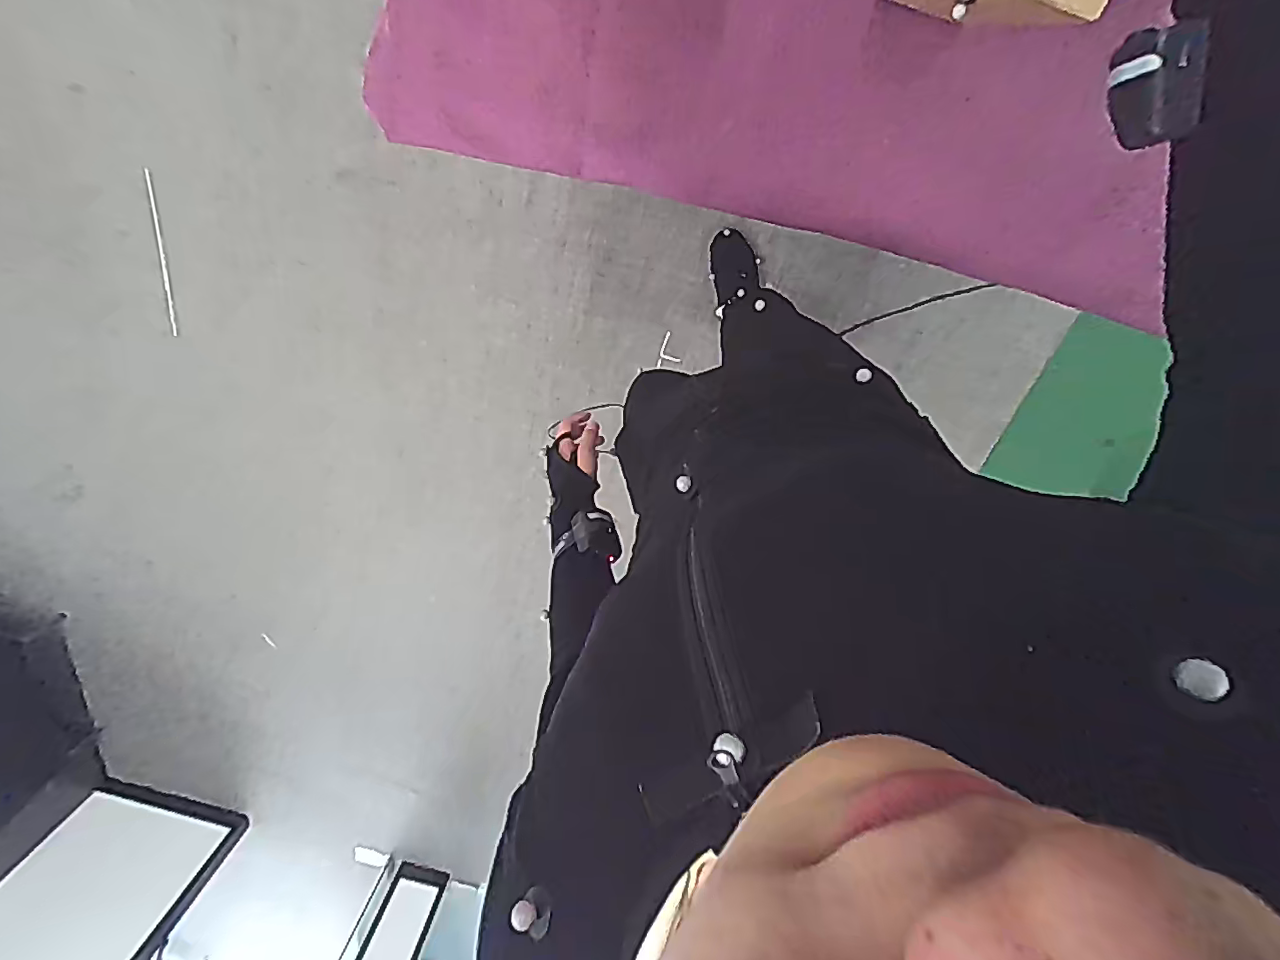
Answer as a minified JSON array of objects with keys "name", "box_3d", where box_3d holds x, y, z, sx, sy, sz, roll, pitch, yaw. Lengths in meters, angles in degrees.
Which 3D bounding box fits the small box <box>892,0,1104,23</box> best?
[{"name":"small box","box_3d":[0.323,-0.528,0.476,0.179,0.176,0.168,1,126,-18]}]
